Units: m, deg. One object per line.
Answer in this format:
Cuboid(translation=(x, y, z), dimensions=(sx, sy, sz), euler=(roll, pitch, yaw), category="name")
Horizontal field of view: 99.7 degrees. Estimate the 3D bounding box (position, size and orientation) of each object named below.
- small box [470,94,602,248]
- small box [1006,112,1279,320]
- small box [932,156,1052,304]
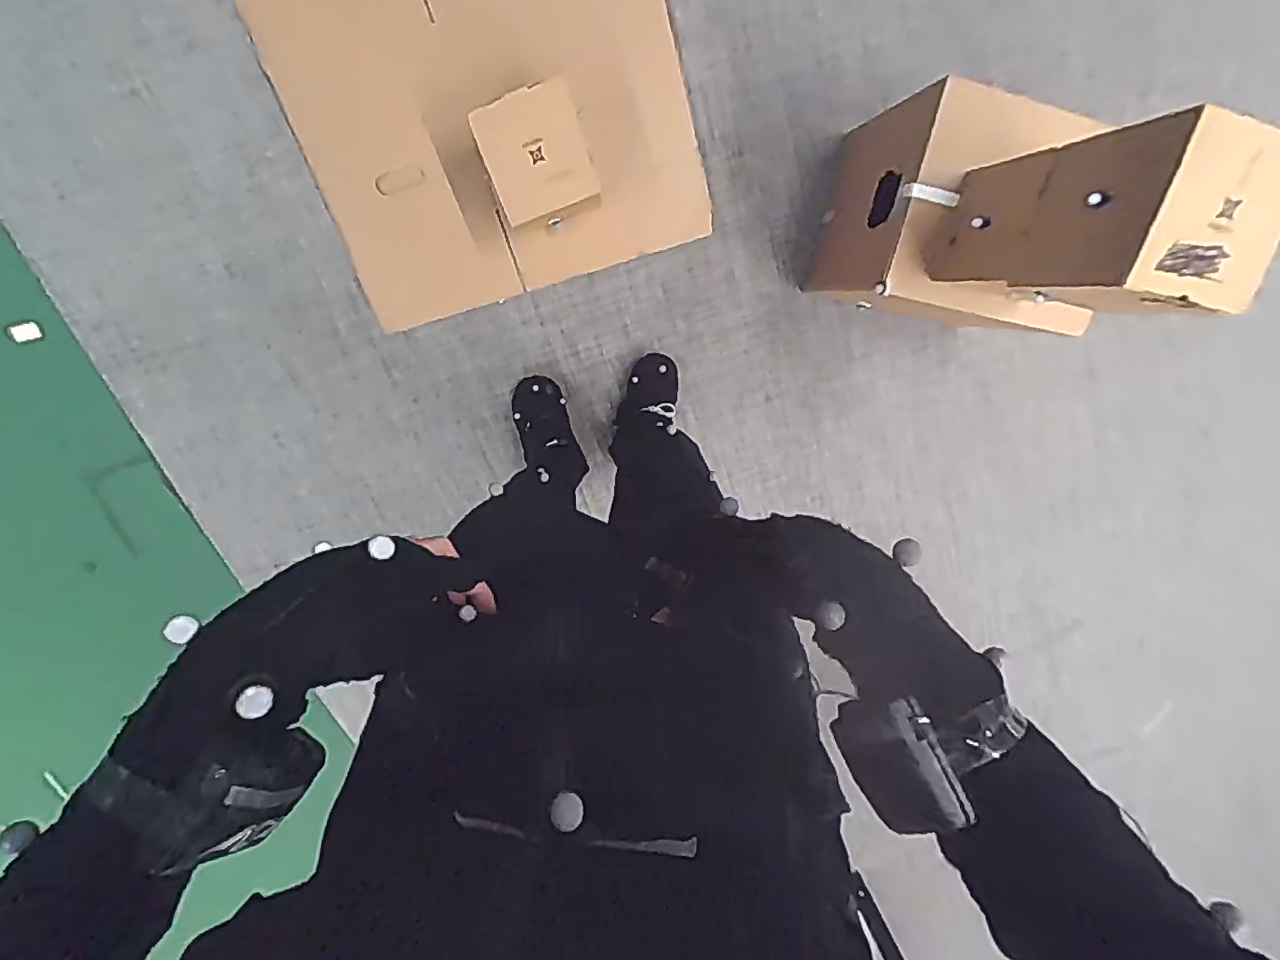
Cuboid(translation=(-0.175, -0.532, 0.958), dimensions=(0.168, 0.176, 0.179), euler=(-21, 110, 3), category="small box")
Cuboid(translation=(0.592, -0.299, 0.653), dimensions=(0.168, 0.176, 0.179), euler=(9, 106, -11), category="small box")
Cuboid(translation=(0.577, -0.359, 0.809), dimensions=(0.179, 0.176, 0.168), euler=(3, 106, -10), category="small box")
